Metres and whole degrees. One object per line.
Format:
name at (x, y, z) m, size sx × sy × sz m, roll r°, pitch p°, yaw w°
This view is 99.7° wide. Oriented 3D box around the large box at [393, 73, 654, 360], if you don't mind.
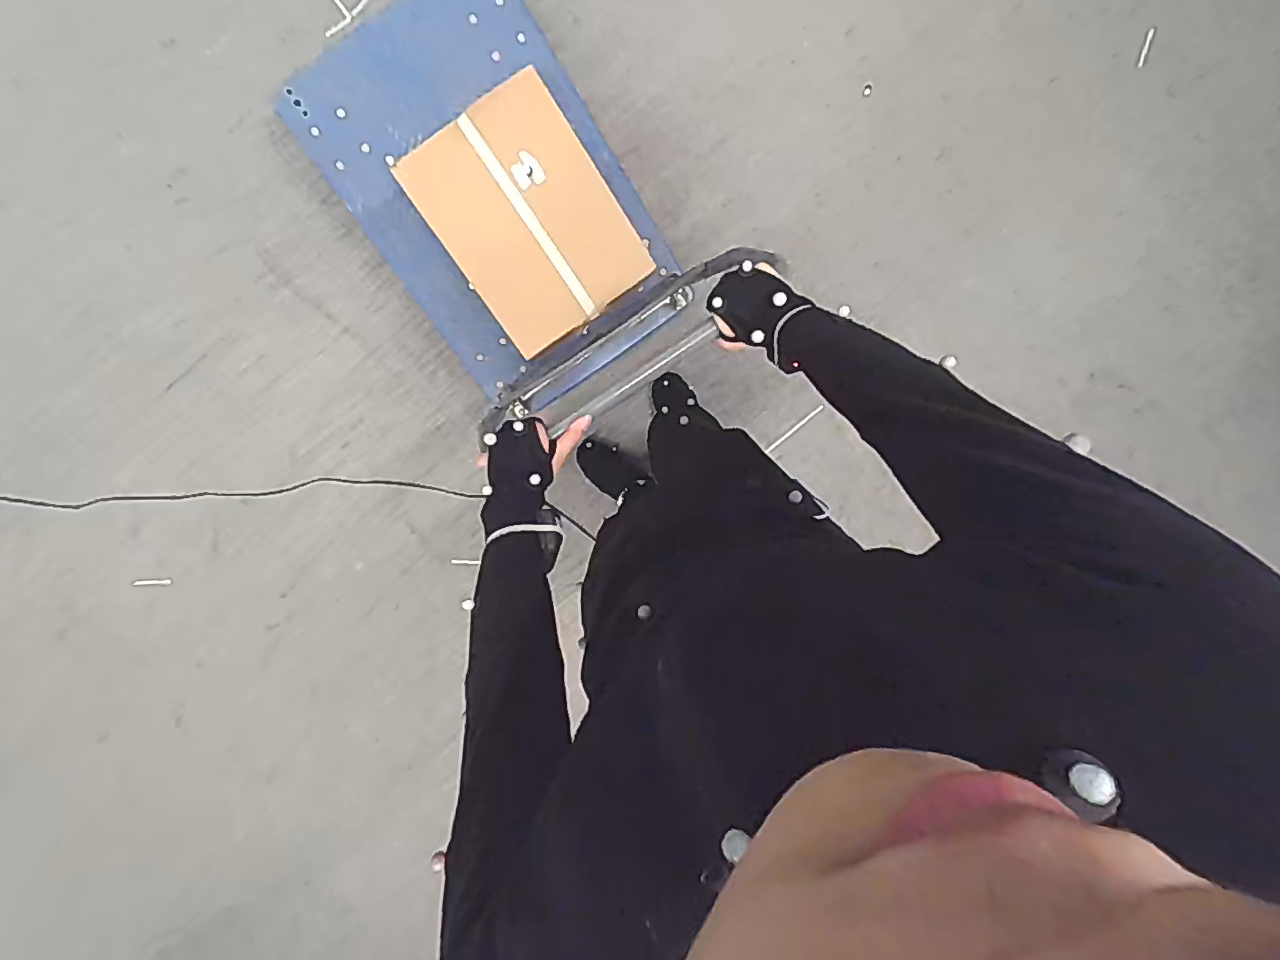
large box at (-0.219, -0.507, 1.144) m, size 0.320 × 0.320 × 0.408 m, roll -35°, pitch 103°, yaw 1°
